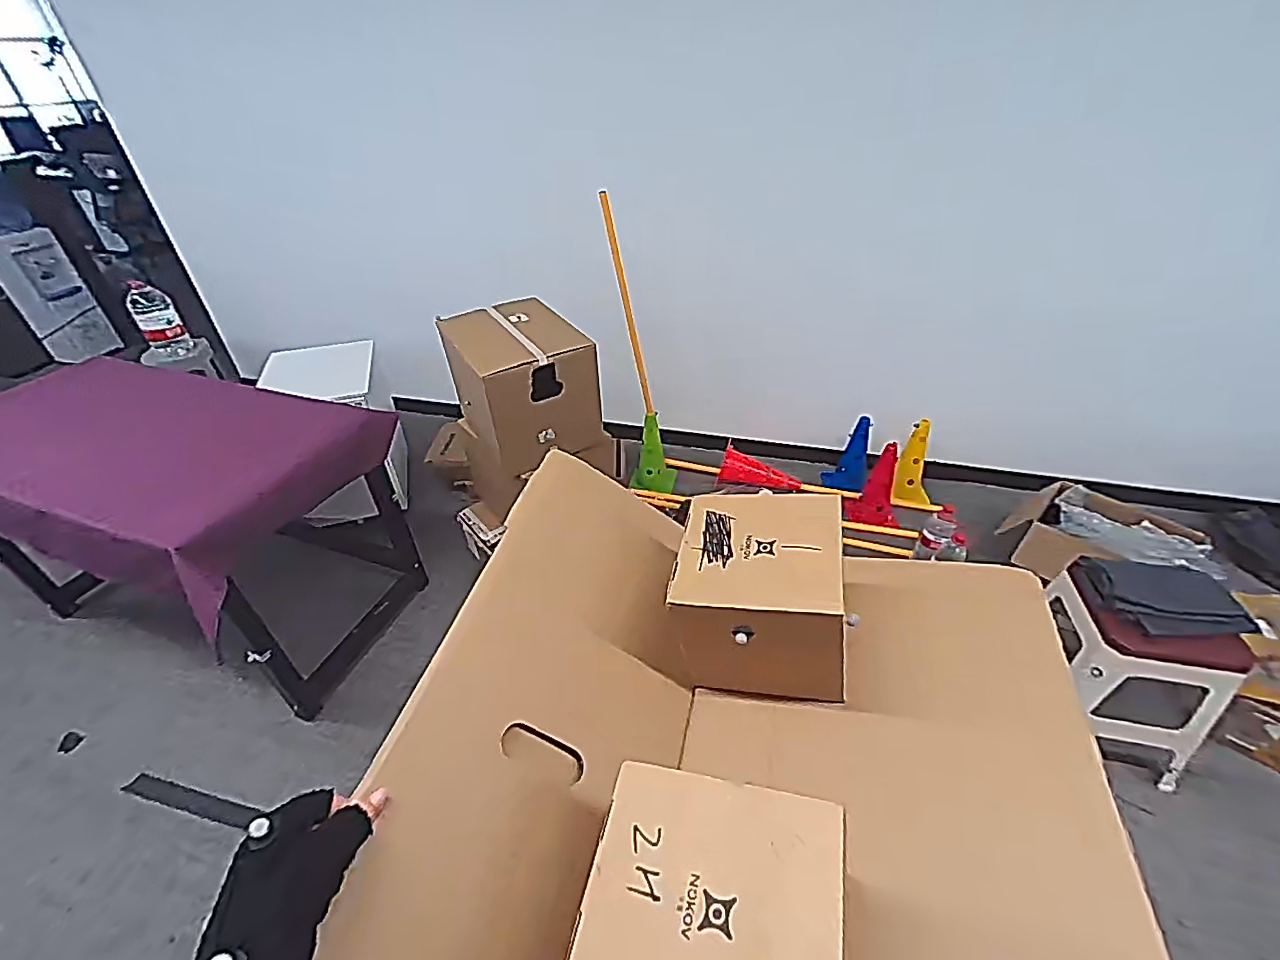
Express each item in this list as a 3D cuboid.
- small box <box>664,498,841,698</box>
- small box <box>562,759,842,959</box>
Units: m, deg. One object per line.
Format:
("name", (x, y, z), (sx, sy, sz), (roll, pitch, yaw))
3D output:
("small box", (0.145, 0.138, 0.645), (0.179, 0.176, 0.168), (0, 41, 20))
("small box", (0.062, 0.351, 0.422), (0.179, 0.176, 0.168), (0, 42, 22))
